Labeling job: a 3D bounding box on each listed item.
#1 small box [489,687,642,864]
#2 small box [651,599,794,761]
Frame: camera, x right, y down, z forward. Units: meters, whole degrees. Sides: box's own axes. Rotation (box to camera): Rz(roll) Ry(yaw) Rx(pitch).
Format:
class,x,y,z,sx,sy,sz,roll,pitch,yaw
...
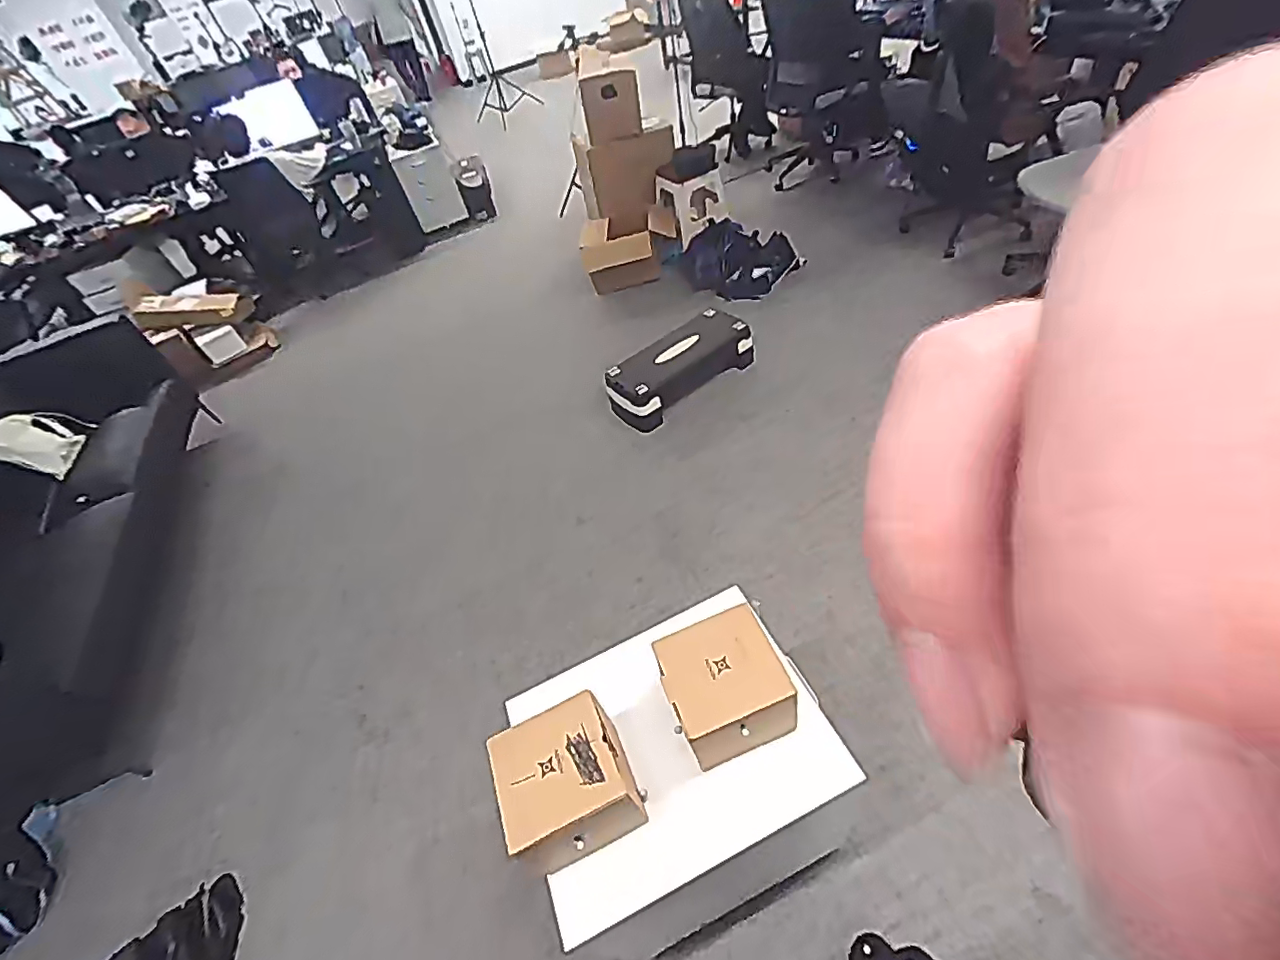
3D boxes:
class,x,y,z,sx,sy,sz,roll,pitch,yaw
small box,-0.108,0.461,0.841,0.179,0.176,0.168,-25,46,-7
small box,0.139,0.333,0.890,0.179,0.176,0.168,-22,48,-5
